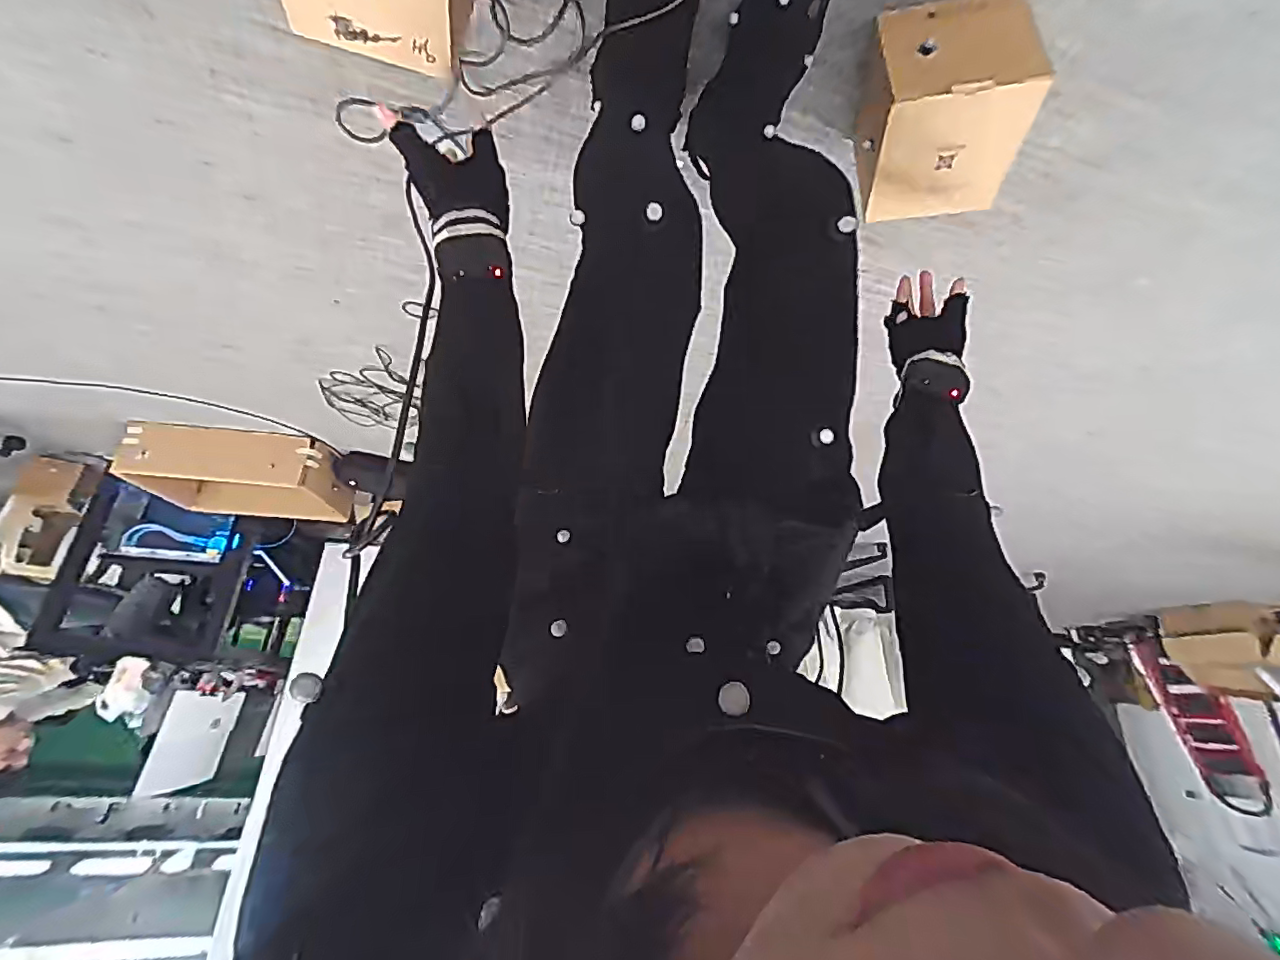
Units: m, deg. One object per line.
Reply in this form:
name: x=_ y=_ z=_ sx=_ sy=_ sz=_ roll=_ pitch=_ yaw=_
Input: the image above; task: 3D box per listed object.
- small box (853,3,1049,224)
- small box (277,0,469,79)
small box: x=0.381 y=-0.472 z=0.703 sx=0.168 sy=0.176 sz=0.179 roll=-1 pitch=157 yaw=11
small box: x=-0.264 y=-0.564 z=0.541 sx=0.168 sy=0.176 sz=0.179 roll=9 pitch=154 yaw=-14
